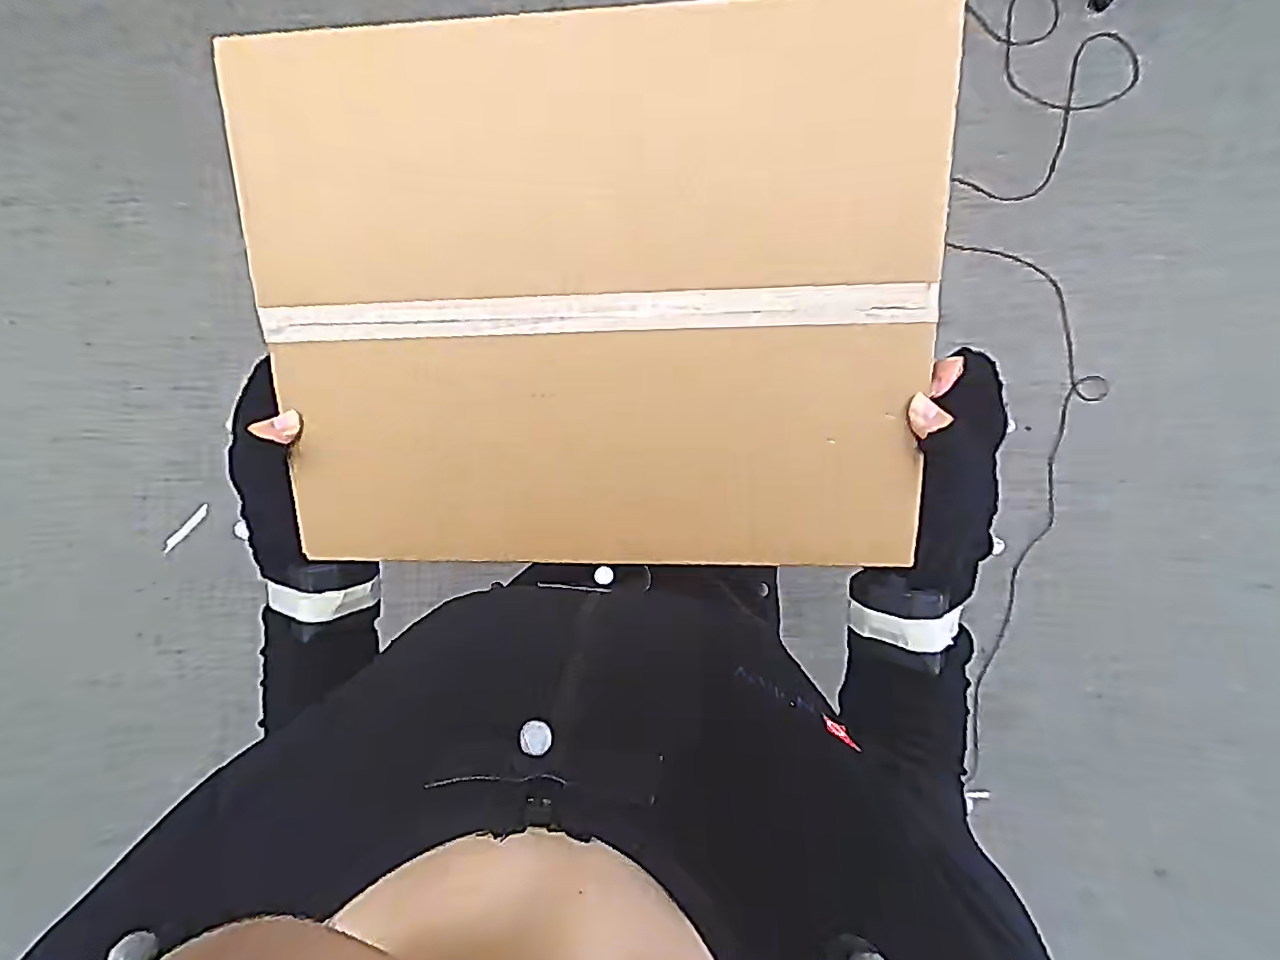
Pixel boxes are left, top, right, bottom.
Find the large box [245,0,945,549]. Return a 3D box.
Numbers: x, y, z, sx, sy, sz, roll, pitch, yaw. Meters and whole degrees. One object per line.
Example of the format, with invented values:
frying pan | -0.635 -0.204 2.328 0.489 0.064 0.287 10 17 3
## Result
large box | -0.021 -0.137 0.476 0.408 0.320 0.320 0 104 5
